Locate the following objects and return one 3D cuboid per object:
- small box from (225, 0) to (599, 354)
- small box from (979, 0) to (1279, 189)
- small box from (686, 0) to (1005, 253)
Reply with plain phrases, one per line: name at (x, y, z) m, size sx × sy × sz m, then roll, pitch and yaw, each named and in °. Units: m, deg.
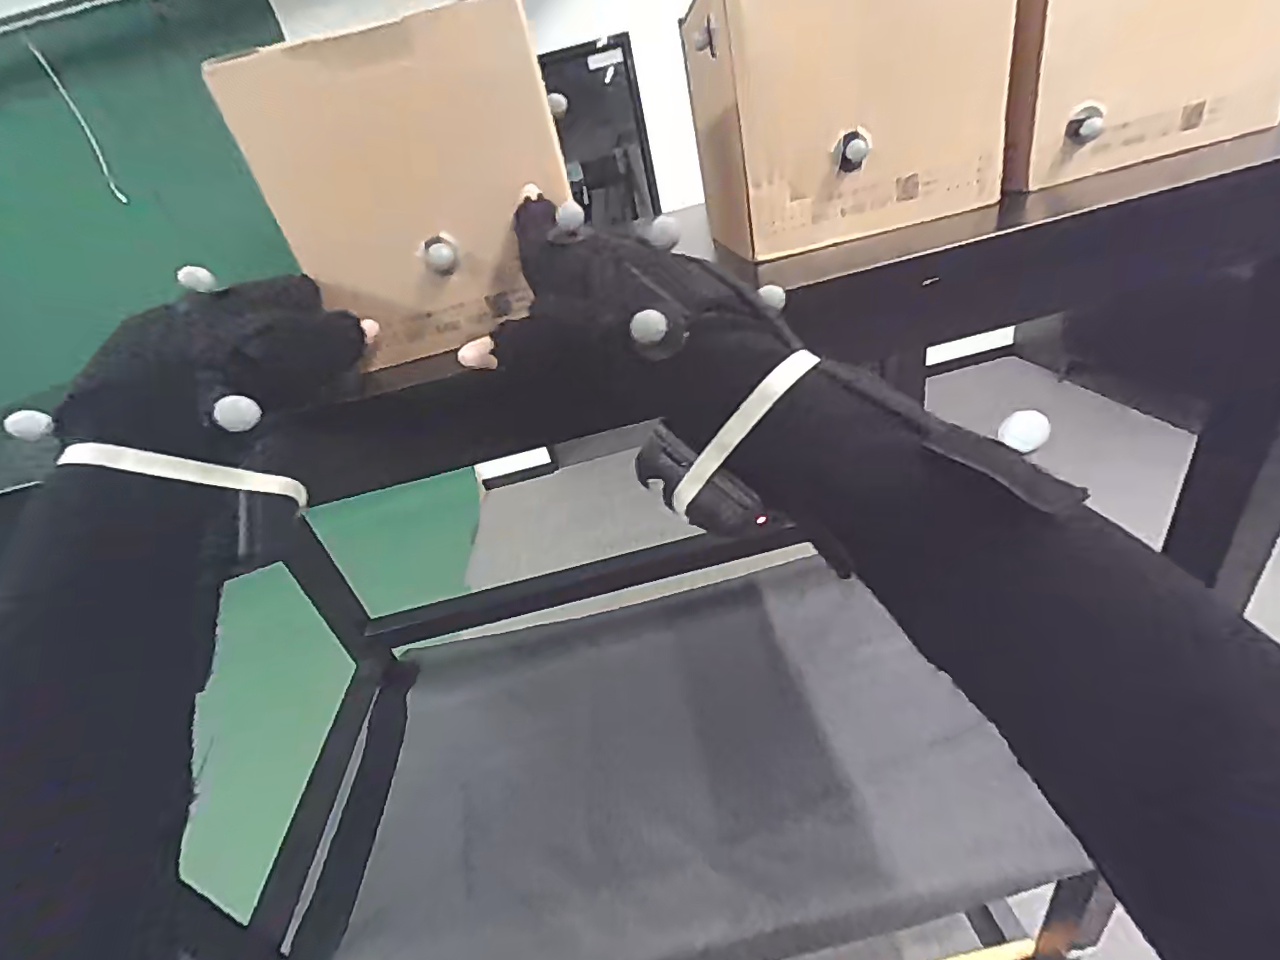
small box at (-0.132, -0.205, 0.392) m, size 0.168 × 0.176 × 0.179 m, roll -15°, pitch 29°, yaw 0°
small box at (0.311, -0.325, 0.400) m, size 0.168 × 0.176 × 0.179 m, roll -13°, pitch 28°, yaw 3°
small box at (0.135, -0.279, 0.407) m, size 0.168 × 0.176 × 0.179 m, roll -12°, pitch 30°, yaw 4°
